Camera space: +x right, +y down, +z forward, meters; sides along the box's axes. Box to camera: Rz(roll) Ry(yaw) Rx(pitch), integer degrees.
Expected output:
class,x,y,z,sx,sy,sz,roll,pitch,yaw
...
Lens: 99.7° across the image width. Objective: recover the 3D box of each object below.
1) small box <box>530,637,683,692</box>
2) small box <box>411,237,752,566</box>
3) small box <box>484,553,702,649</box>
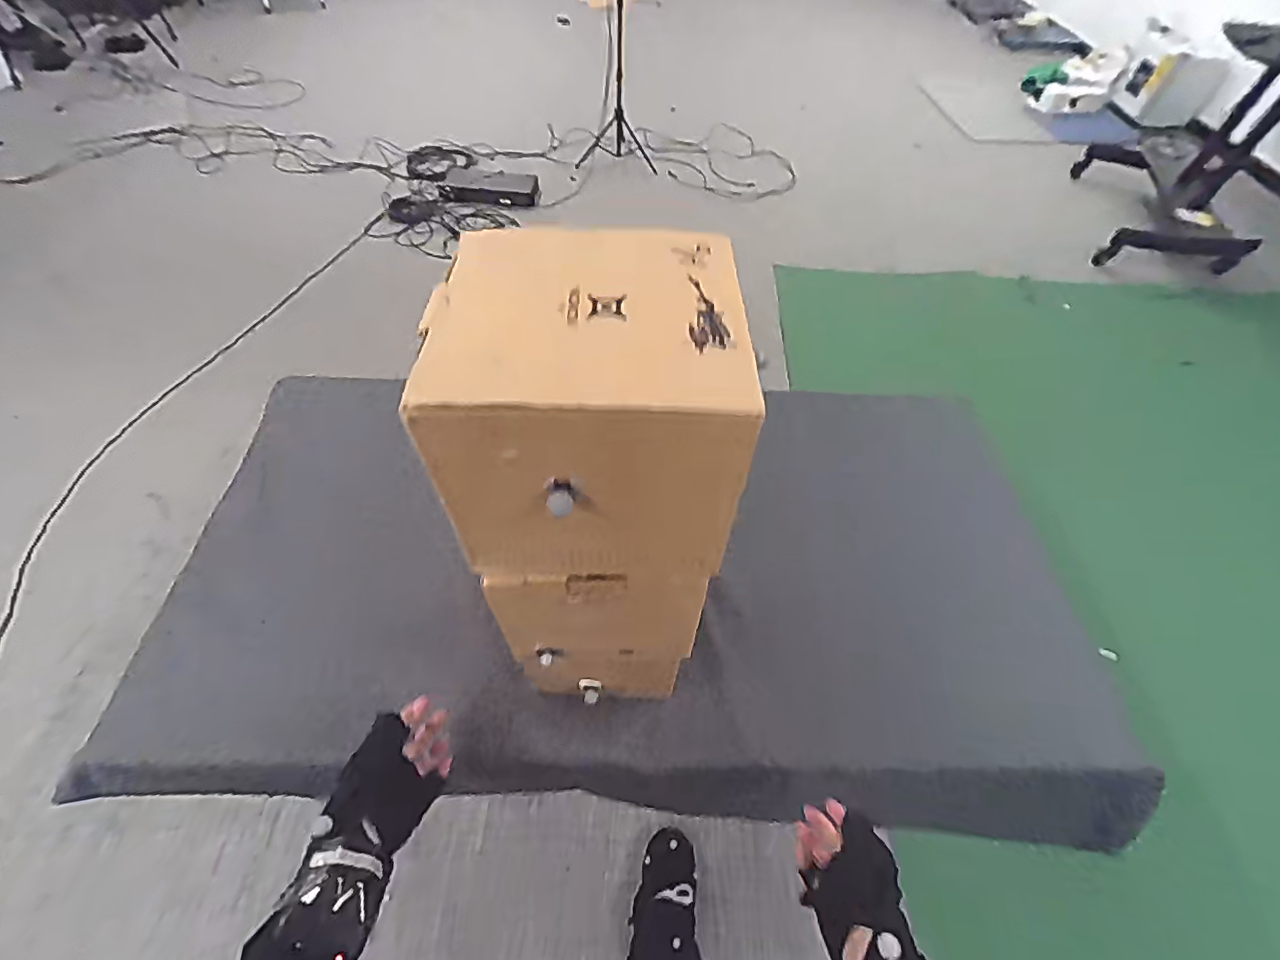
class,x,y,z,sx,sy,sz,roll,pitch,yaw
small box,-0.038,0.138,0.648,0.168,0.176,0.179,1,54,0
small box,-0.033,-0.050,0.382,0.179,0.176,0.168,-1,51,-3
small box,-0.040,0.050,0.509,0.168,0.176,0.179,-4,54,-4
